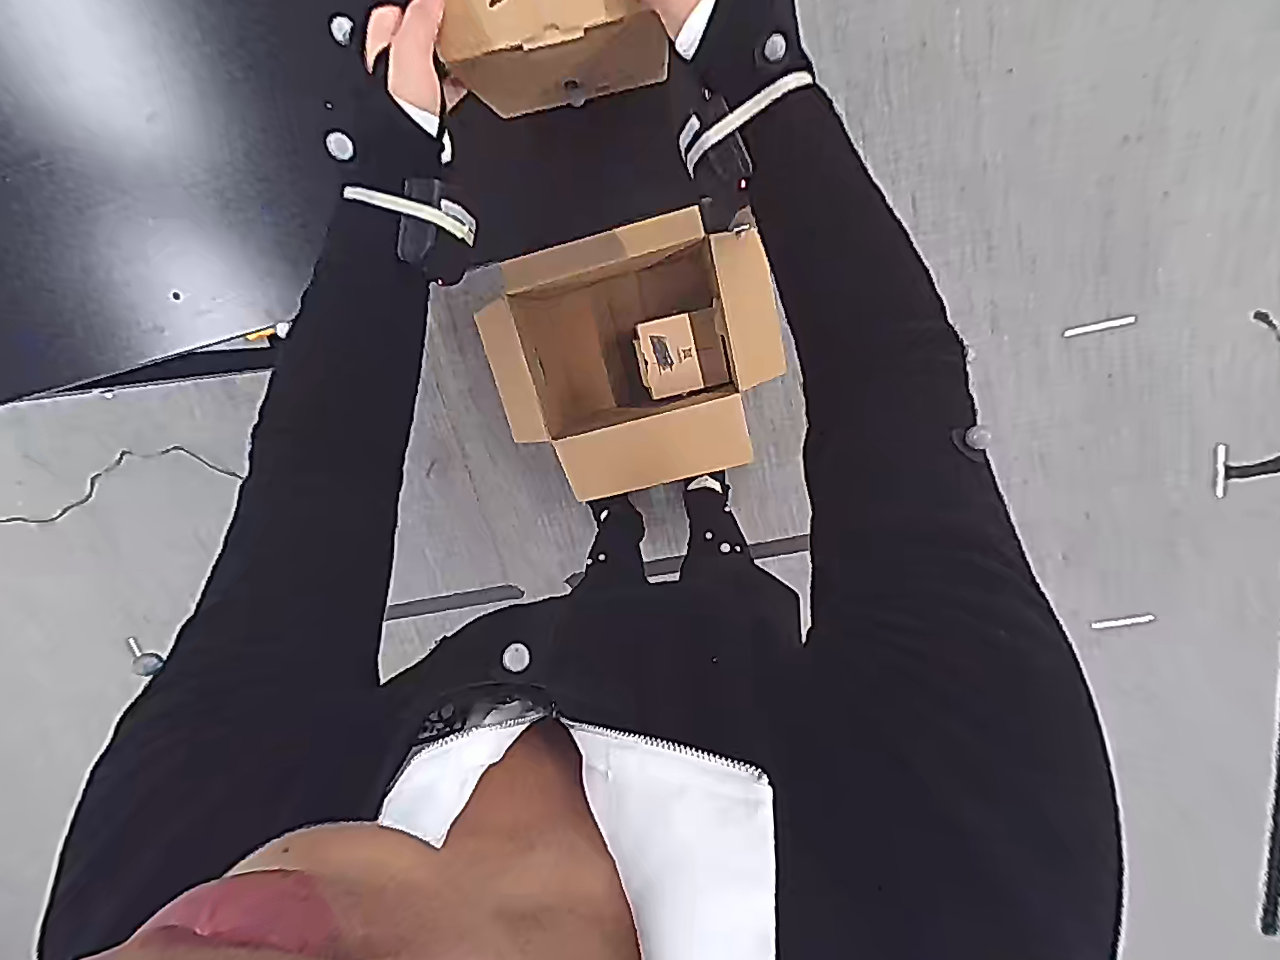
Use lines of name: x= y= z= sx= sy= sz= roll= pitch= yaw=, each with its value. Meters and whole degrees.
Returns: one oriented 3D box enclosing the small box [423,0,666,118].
small box: x=-0.075 y=-0.416 z=0.420 sx=0.168 sy=0.176 sz=0.179 roll=-9 pitch=112 yaw=6
